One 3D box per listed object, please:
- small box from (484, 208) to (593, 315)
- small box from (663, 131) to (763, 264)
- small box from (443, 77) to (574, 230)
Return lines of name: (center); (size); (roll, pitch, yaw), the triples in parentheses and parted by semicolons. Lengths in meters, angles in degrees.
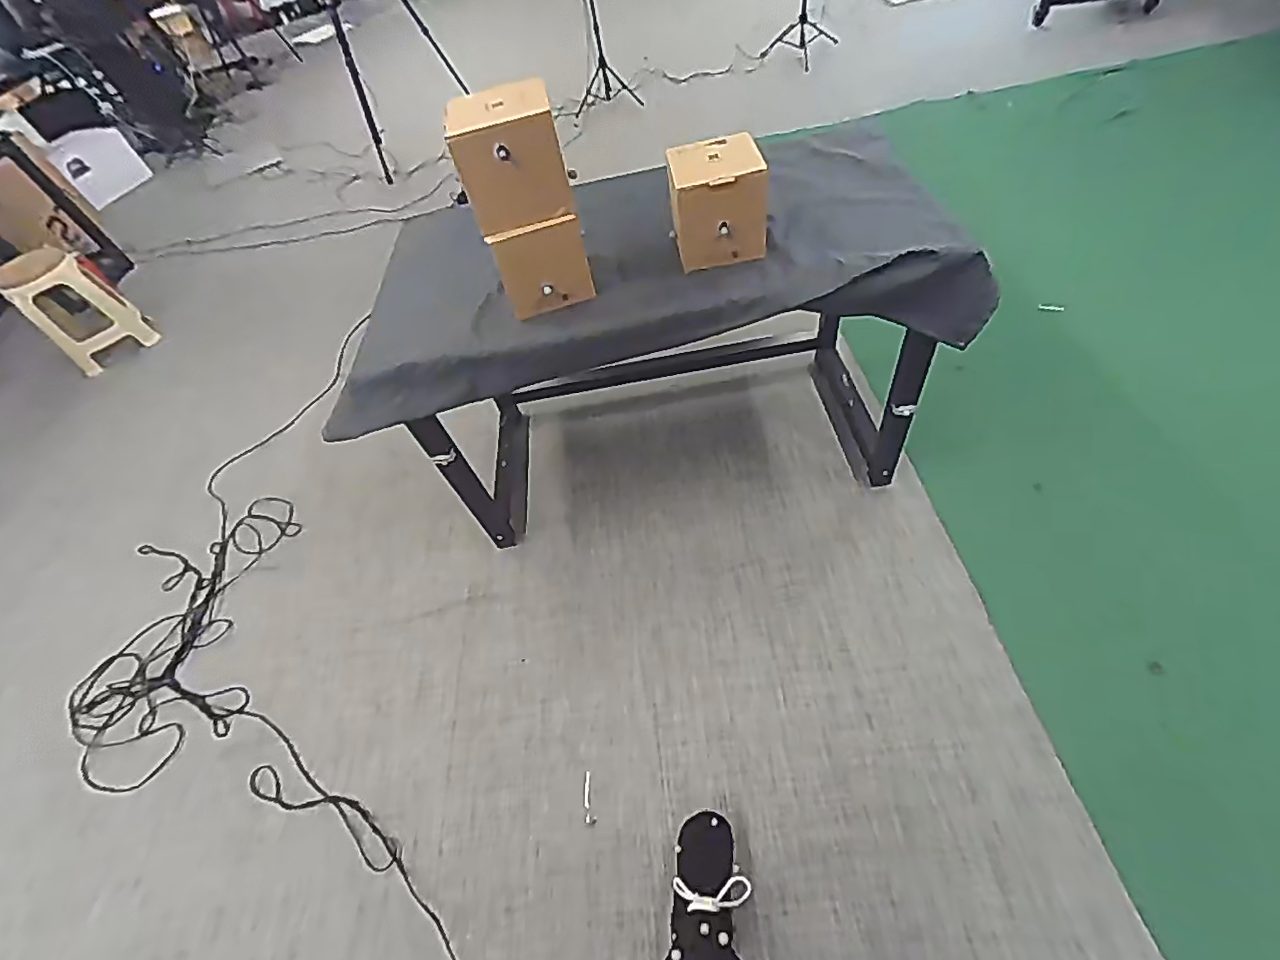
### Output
small box: (-0.203, -0.458, 1.069); (0.168, 0.176, 0.179); (-18, 53, -2)
small box: (0.146, -0.547, 1.069); (0.168, 0.176, 0.179); (-10, 53, 4)
small box: (-0.226, -0.566, 0.950); (0.179, 0.176, 0.168); (-14, 54, -1)
